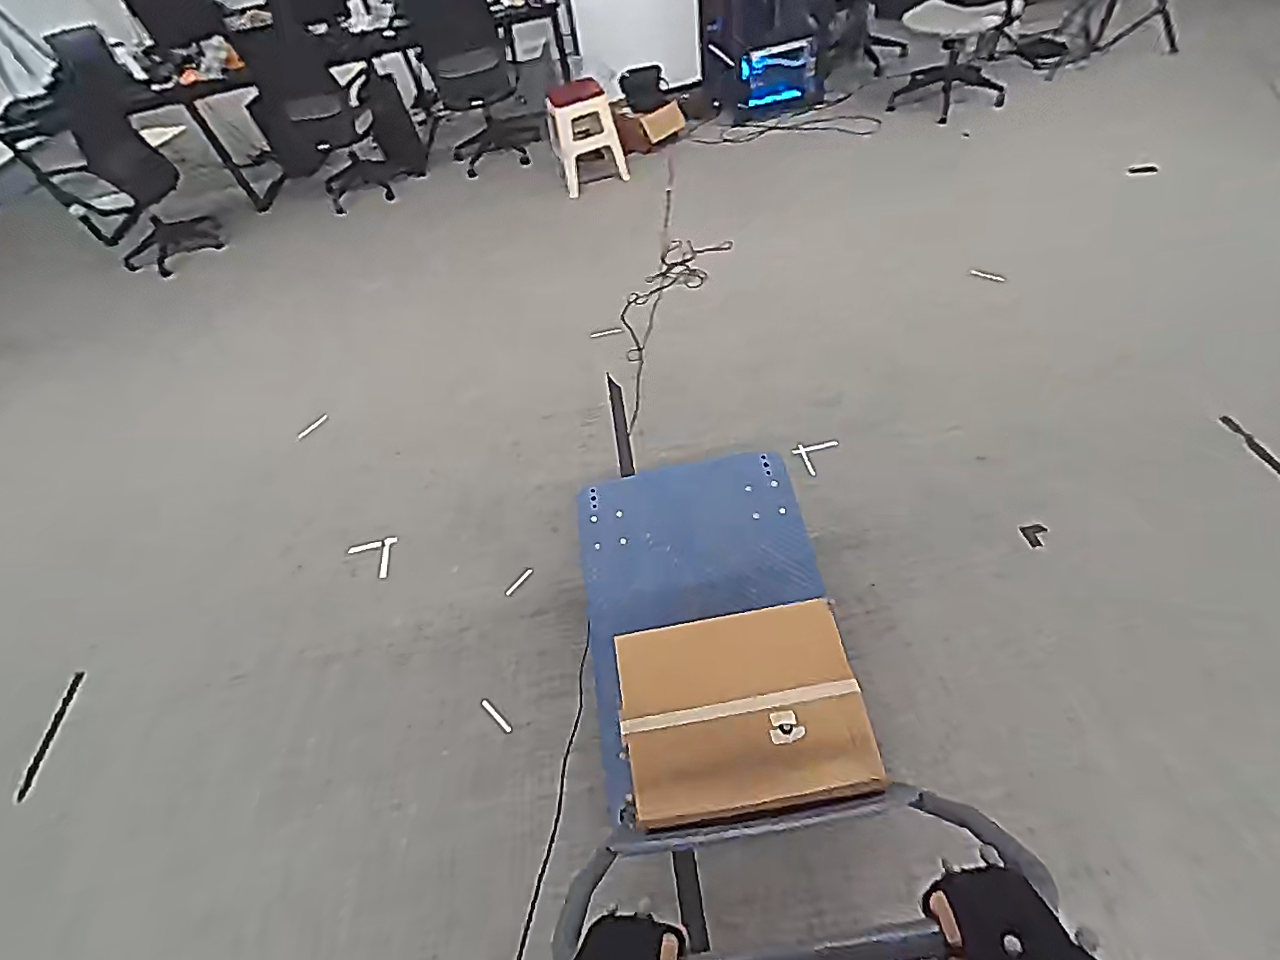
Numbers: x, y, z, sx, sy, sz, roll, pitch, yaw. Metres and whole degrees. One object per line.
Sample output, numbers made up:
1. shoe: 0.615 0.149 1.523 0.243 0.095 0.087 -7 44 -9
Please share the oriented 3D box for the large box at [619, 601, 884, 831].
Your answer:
1. large box: 0.193 0.469 1.075 0.408 0.320 0.320 -11 62 1
